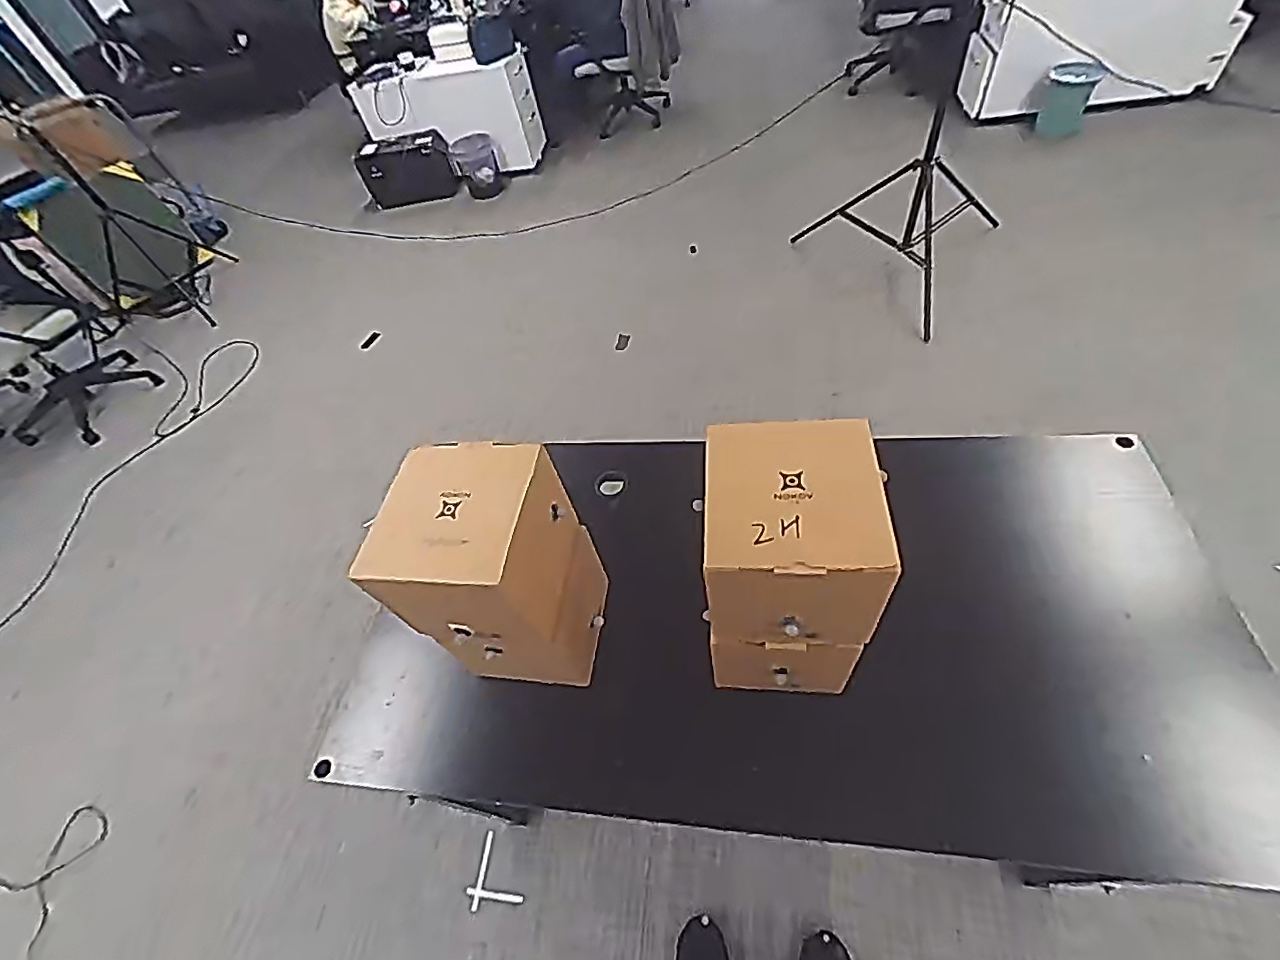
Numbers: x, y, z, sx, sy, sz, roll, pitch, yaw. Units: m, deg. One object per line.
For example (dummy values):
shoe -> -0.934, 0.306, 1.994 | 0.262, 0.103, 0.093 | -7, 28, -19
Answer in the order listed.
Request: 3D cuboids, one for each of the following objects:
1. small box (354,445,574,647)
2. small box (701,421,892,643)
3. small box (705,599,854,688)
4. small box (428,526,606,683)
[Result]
small box -> -0.185, 0.078, 0.635 | 0.168, 0.176, 0.179 | -1, 54, 12
small box -> 0.154, 0.057, 0.584 | 0.168, 0.176, 0.179 | -2, 52, 11
small box -> 0.175, 0.162, 0.711 | 0.168, 0.176, 0.179 | -1, 53, 10
small box -> -0.158, 0.175, 0.763 | 0.179, 0.176, 0.168 | 2, 53, 11
